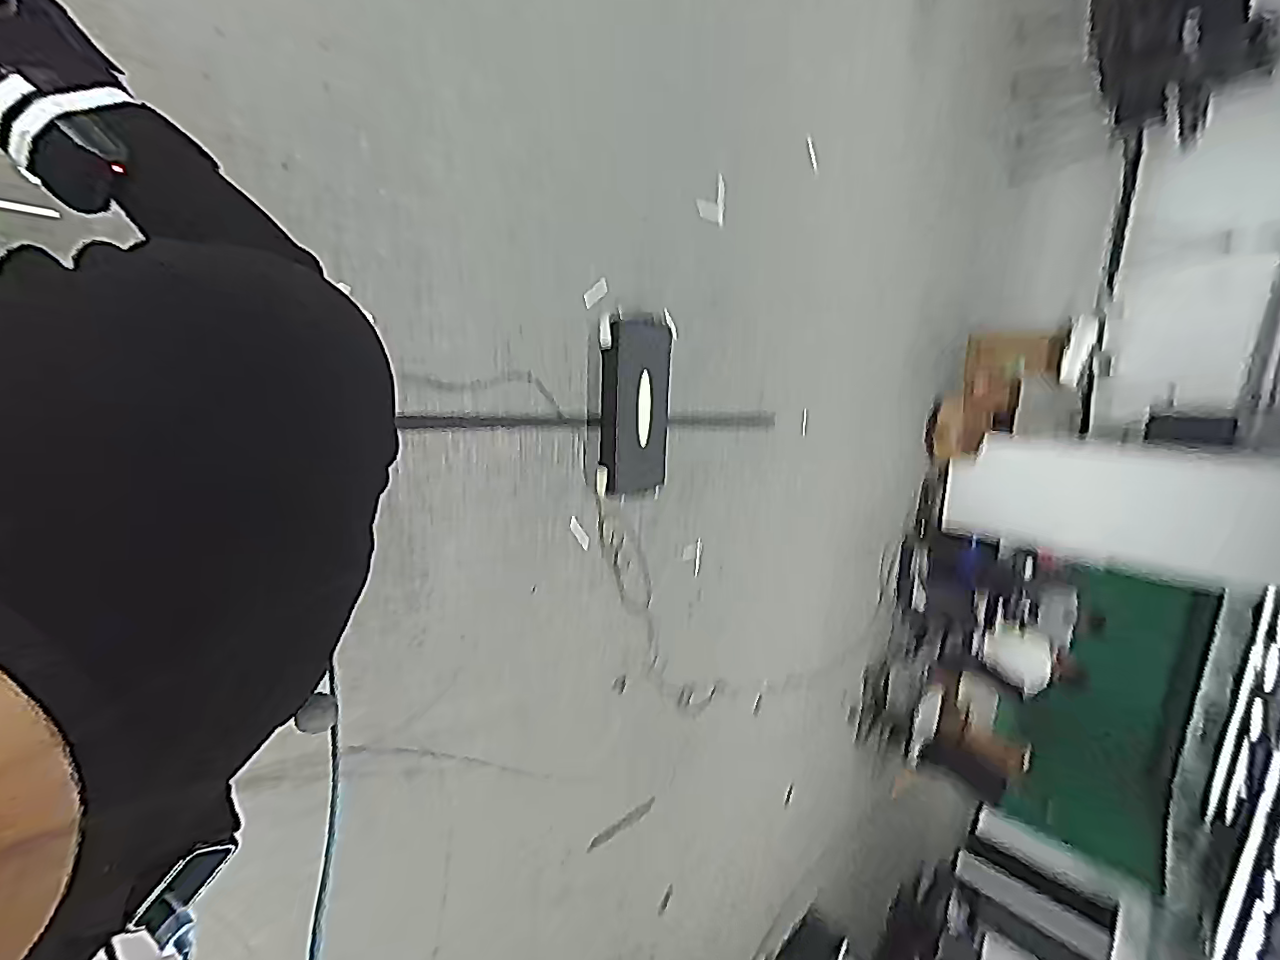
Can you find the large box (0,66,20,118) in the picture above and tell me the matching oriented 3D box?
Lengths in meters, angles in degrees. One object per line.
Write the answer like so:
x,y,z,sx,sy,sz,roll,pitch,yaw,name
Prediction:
-0.689,-0.273,0.259,0.408,0.320,0.320,-49,142,-29,large box
